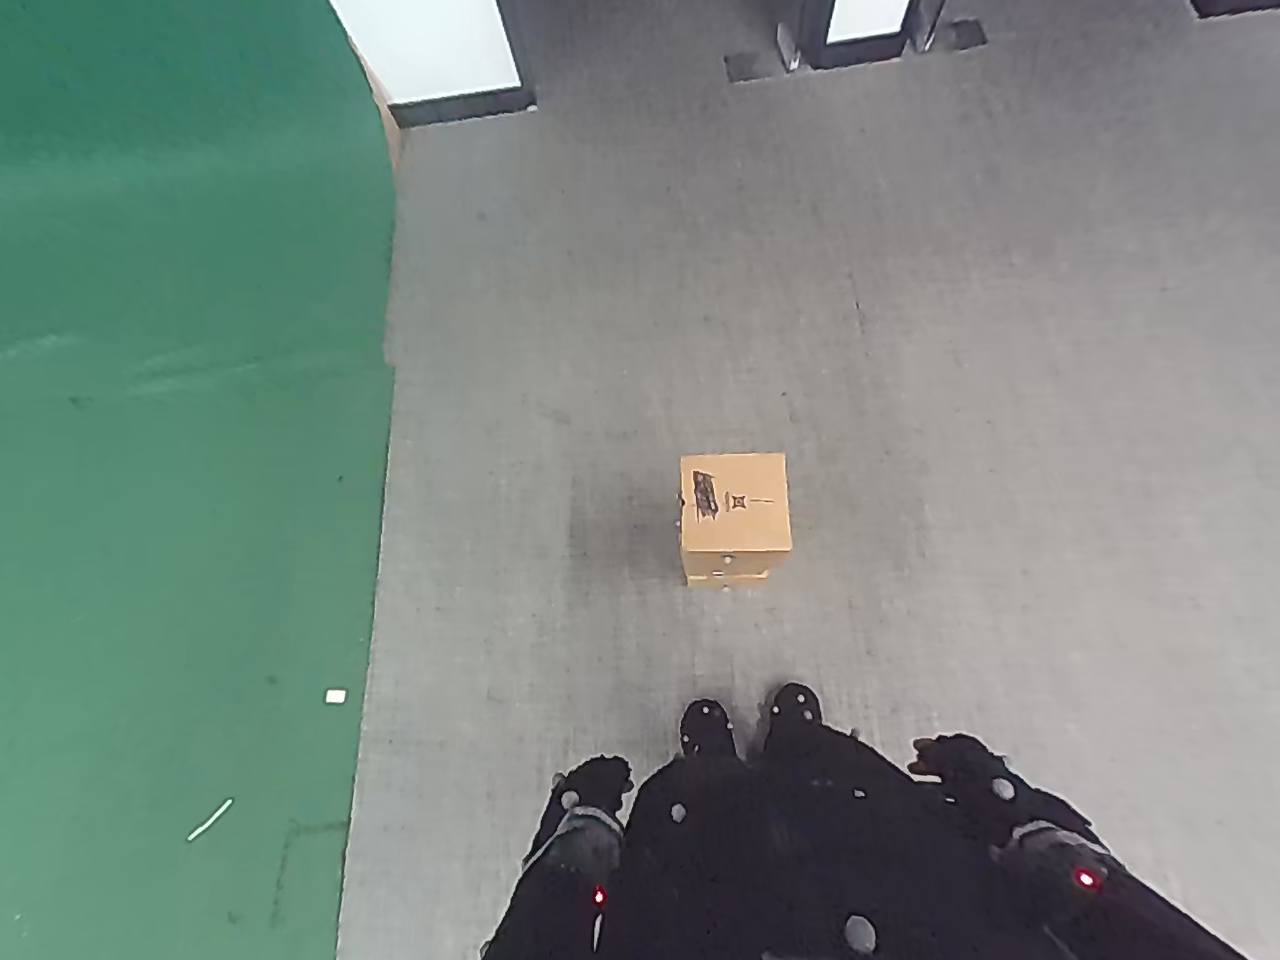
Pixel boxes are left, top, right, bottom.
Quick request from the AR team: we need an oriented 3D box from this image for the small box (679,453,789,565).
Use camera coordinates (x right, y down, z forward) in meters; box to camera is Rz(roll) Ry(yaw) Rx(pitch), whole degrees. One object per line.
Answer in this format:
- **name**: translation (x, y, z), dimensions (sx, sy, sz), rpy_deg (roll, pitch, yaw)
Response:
- **small box**: translation (0.161, 0.058, 0.961), dimensions (0.179, 0.176, 0.168), rpy_deg (-1, 72, 6)

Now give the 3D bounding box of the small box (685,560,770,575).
- **small box**: translation (0.174, 0.099, 1.120), dimensions (0.168, 0.176, 0.179), rpy_deg (-3, 74, 6)

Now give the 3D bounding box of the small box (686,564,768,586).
- **small box**: translation (0.196, 0.157, 1.270), dimensions (0.179, 0.176, 0.168), rpy_deg (-2, 72, 5)
